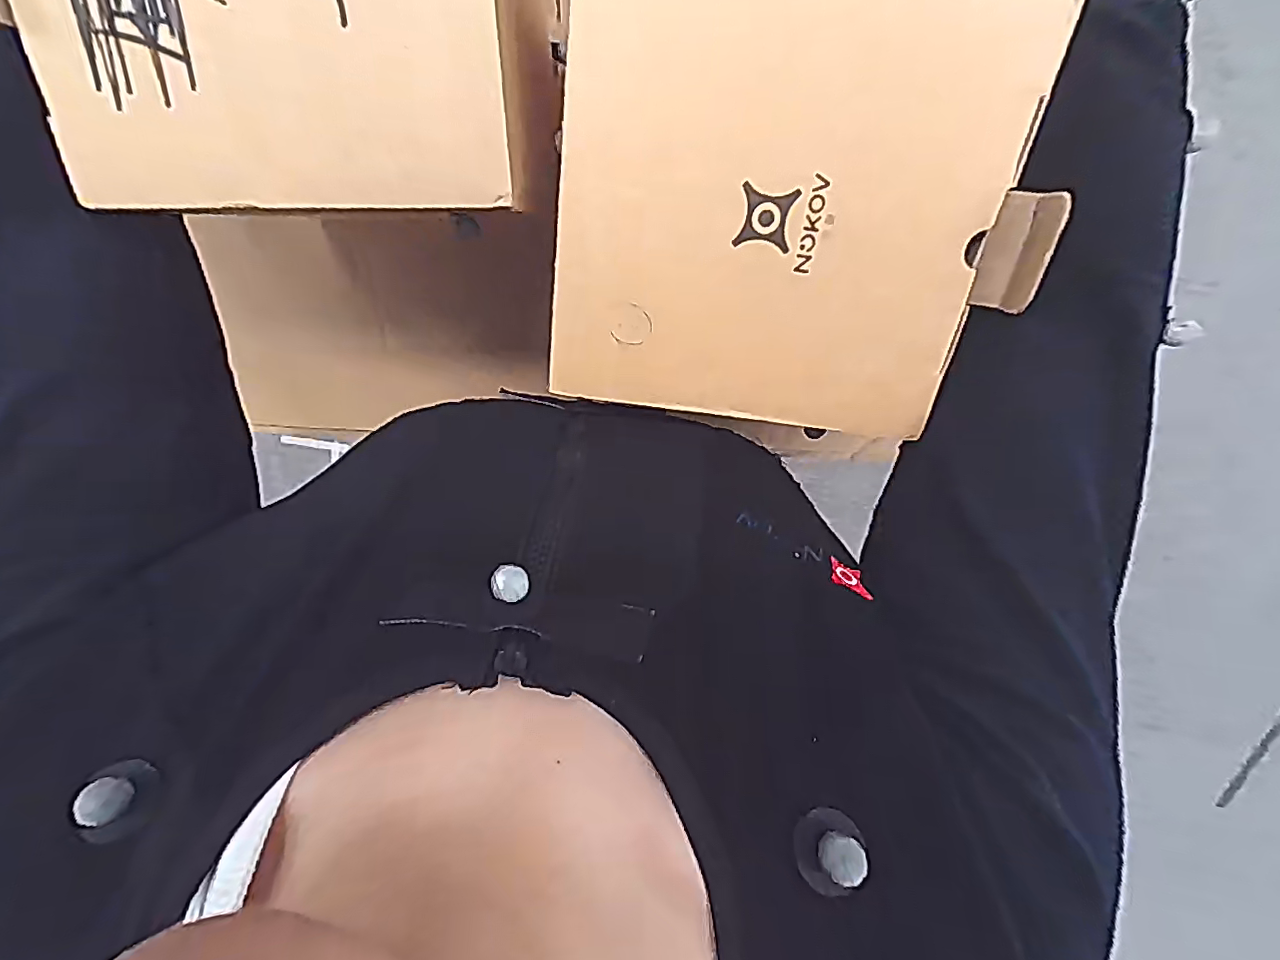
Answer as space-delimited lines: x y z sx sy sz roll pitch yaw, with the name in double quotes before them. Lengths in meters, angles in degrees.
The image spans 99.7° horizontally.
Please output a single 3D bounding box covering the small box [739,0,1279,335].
"small box" 0.163 -0.187 0.245 0.179 0.176 0.168 19 121 -8
